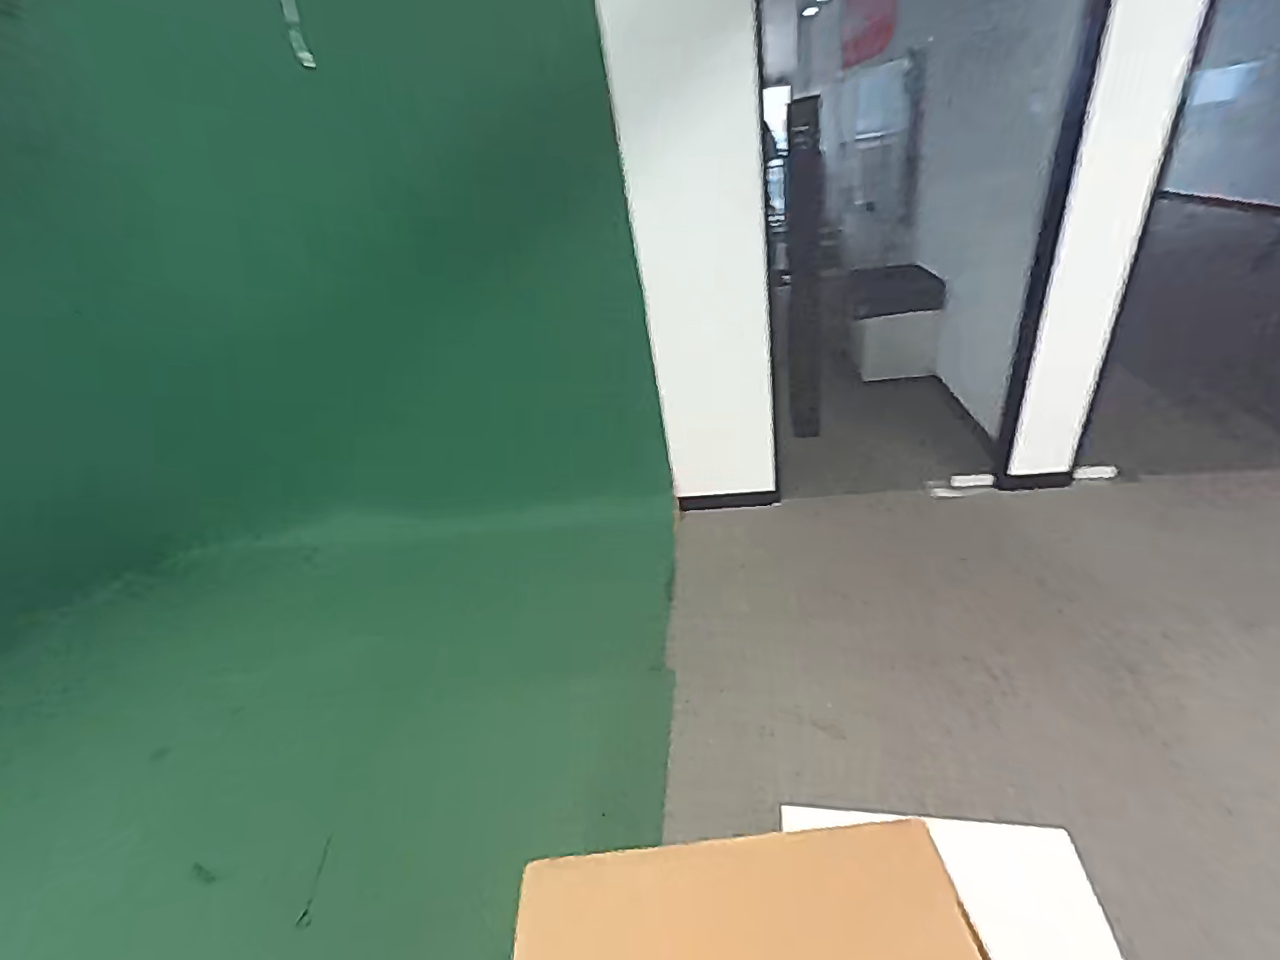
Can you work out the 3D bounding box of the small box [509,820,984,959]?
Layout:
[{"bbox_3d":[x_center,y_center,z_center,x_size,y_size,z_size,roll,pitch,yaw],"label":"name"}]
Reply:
[{"bbox_3d":[0.048,0.265,0.204,0.179,0.176,0.168,-8,31,1],"label":"small box"}]
